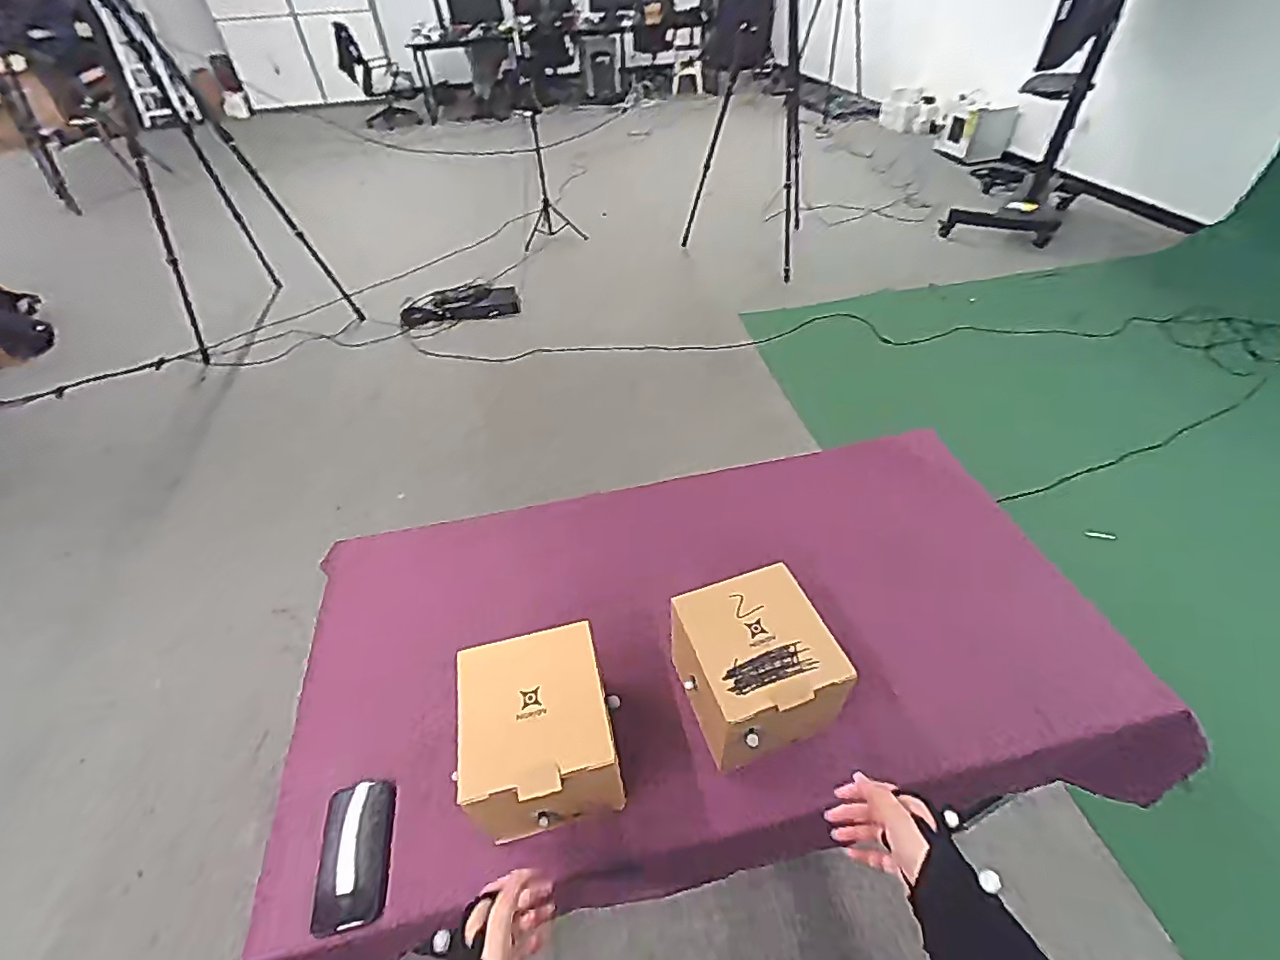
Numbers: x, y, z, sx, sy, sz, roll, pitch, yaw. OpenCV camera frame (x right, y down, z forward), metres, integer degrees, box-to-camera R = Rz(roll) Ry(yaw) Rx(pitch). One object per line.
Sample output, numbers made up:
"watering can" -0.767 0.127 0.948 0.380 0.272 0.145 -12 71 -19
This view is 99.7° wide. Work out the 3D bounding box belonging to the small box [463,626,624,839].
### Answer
"small box" -0.119 0.316 0.681 0.168 0.176 0.179 -12 46 -8
